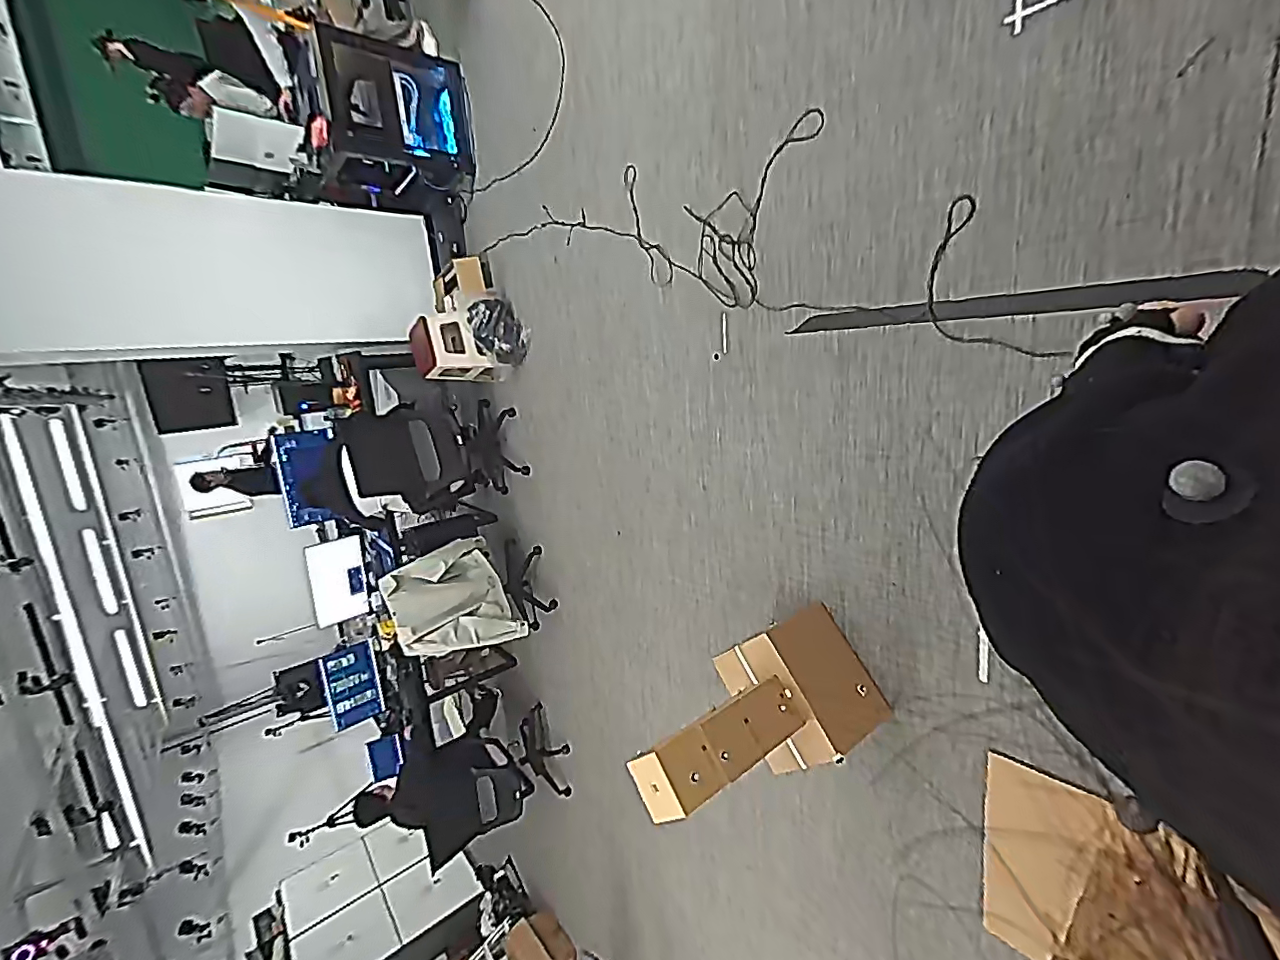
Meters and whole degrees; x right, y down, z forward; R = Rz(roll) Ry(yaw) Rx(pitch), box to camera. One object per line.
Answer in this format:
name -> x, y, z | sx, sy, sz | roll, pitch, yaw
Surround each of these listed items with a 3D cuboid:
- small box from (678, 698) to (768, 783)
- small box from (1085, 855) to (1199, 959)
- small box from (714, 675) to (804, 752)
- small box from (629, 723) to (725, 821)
small box -> 0.233, 0.755, 1.556 | 0.168, 0.176, 0.179 | 60, 141, 20
small box -> 1.145, 1.018, 1.231 | 0.168, 0.176, 0.179 | -4, 98, 51
small box -> 0.362, 0.722, 1.652 | 0.168, 0.176, 0.179 | 60, 140, 20
small box -> 0.106, 0.782, 1.457 | 0.168, 0.176, 0.179 | 60, 140, 20
